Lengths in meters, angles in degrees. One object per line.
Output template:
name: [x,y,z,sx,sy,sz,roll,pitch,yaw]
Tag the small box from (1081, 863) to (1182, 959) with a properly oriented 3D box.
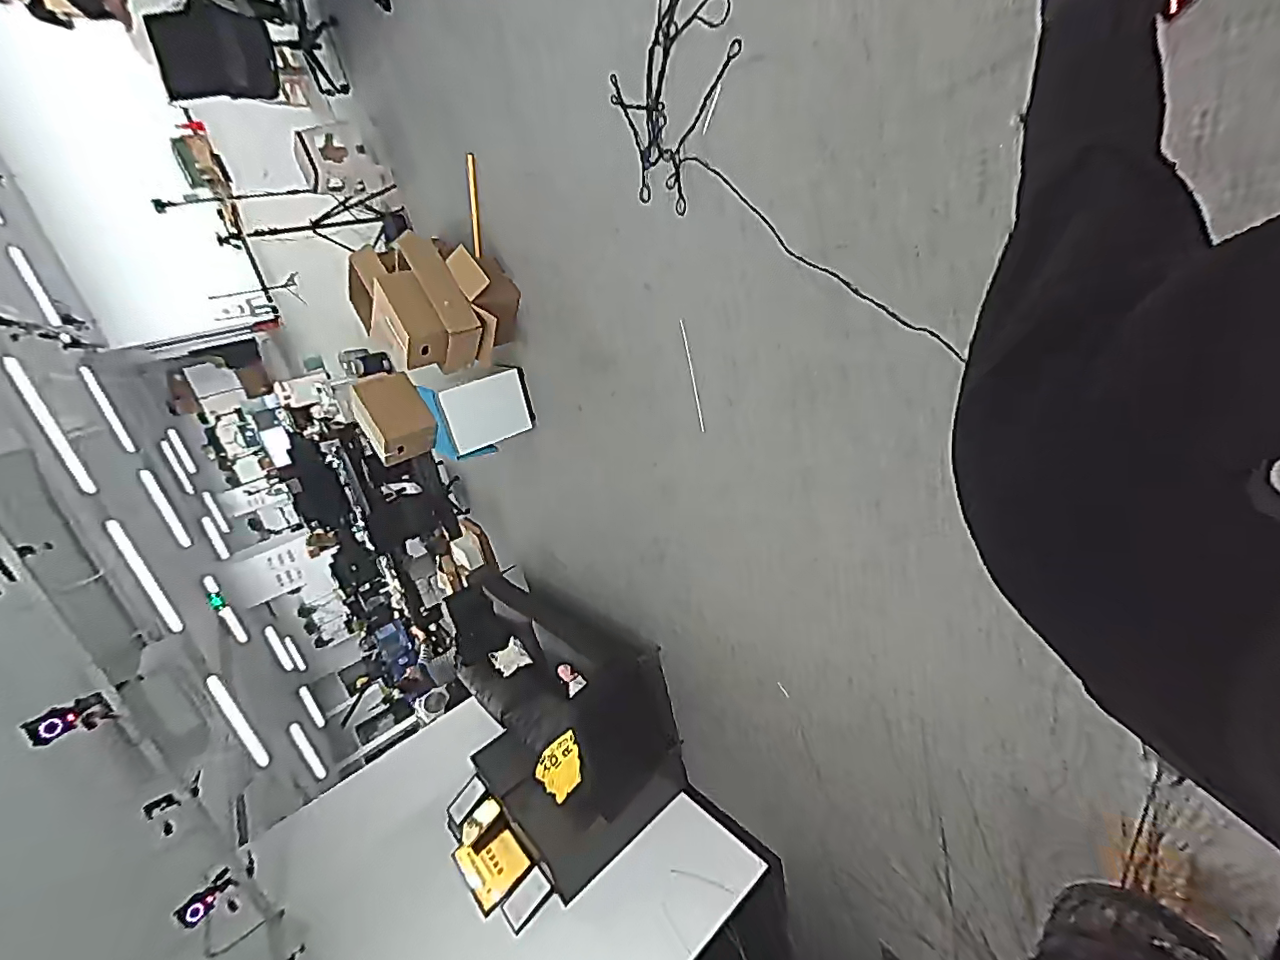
small box: [1.291,1.171,1.422,0.168,0.176,0.179,11,121,52]
